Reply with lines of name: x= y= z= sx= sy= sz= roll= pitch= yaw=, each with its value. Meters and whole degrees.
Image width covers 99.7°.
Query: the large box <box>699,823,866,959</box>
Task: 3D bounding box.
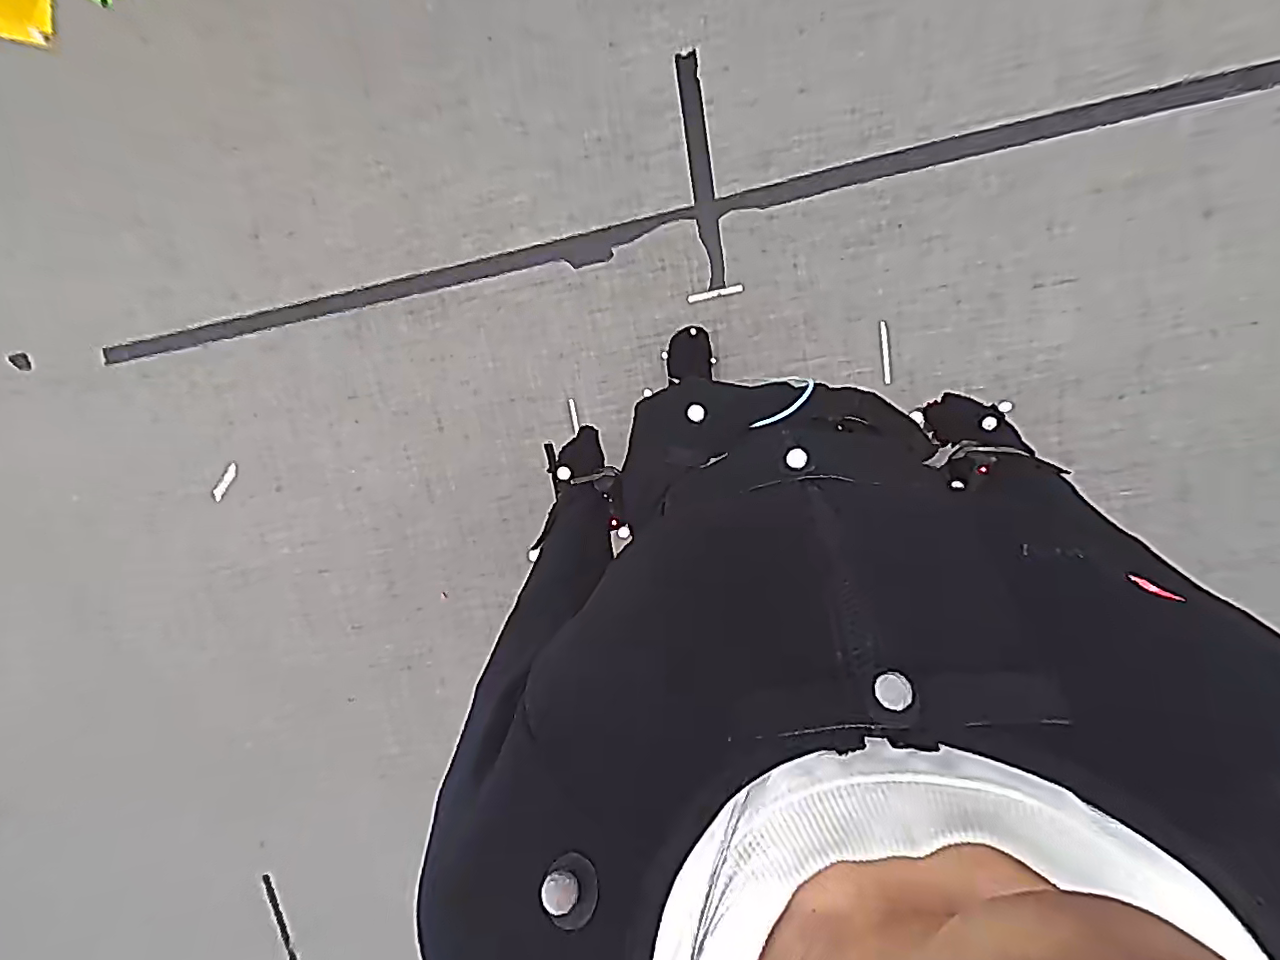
large box: x=0.399 y=1.251 z=1.544 sx=0.408 sy=0.320 sz=0.320 roll=-12 pitch=102 yaw=8
